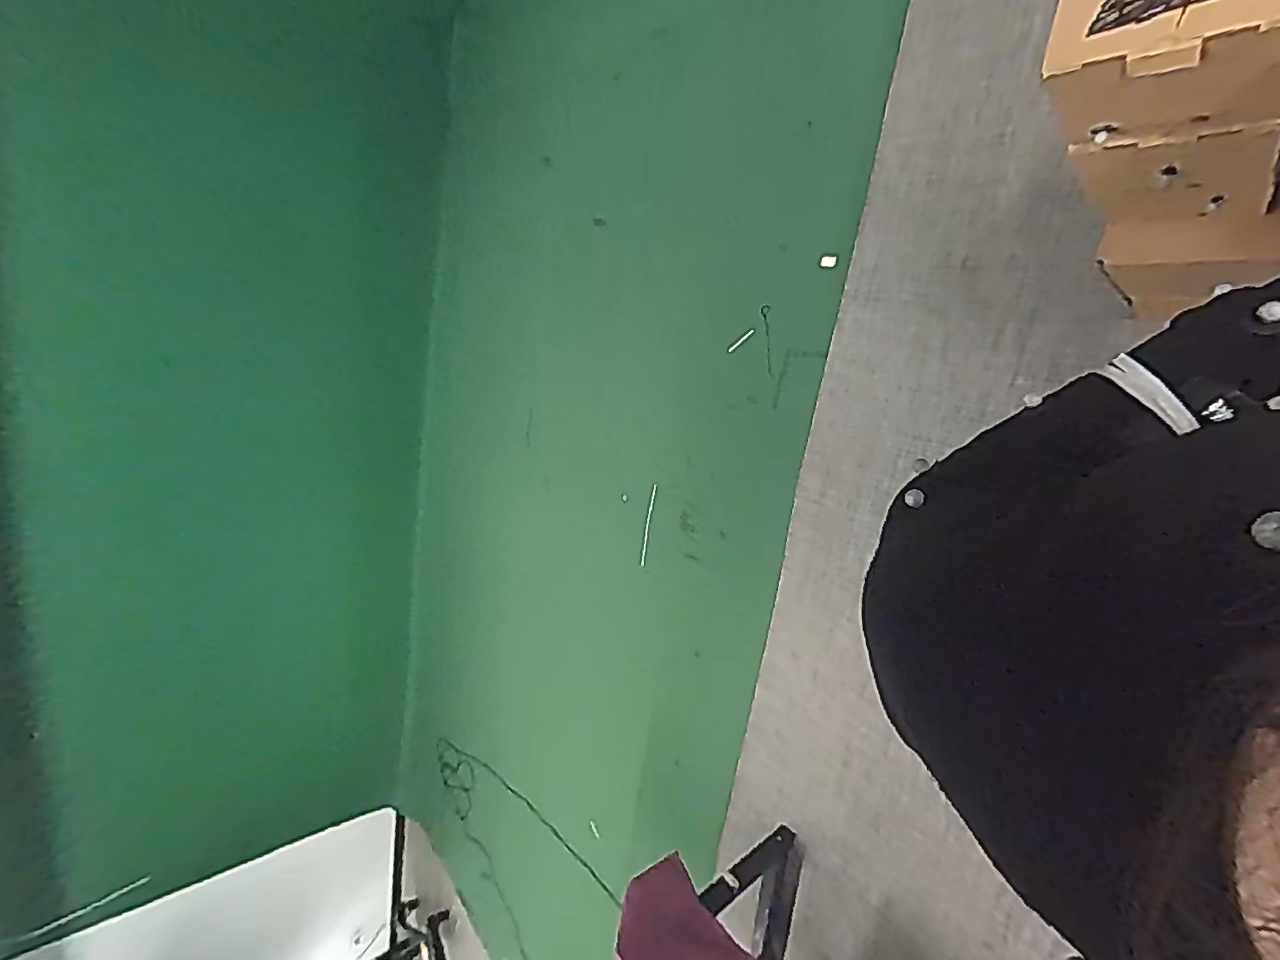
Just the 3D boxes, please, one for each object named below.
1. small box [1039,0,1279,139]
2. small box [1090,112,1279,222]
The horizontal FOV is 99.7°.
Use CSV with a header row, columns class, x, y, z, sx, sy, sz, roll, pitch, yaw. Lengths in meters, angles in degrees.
class,x,y,z,sx,sy,sz,roll,pitch,yaw
small box,0.482,-0.423,0.466,0.168,0.176,0.179,20,106,43
small box,0.719,-0.441,0.692,0.168,0.176,0.179,23,109,43
